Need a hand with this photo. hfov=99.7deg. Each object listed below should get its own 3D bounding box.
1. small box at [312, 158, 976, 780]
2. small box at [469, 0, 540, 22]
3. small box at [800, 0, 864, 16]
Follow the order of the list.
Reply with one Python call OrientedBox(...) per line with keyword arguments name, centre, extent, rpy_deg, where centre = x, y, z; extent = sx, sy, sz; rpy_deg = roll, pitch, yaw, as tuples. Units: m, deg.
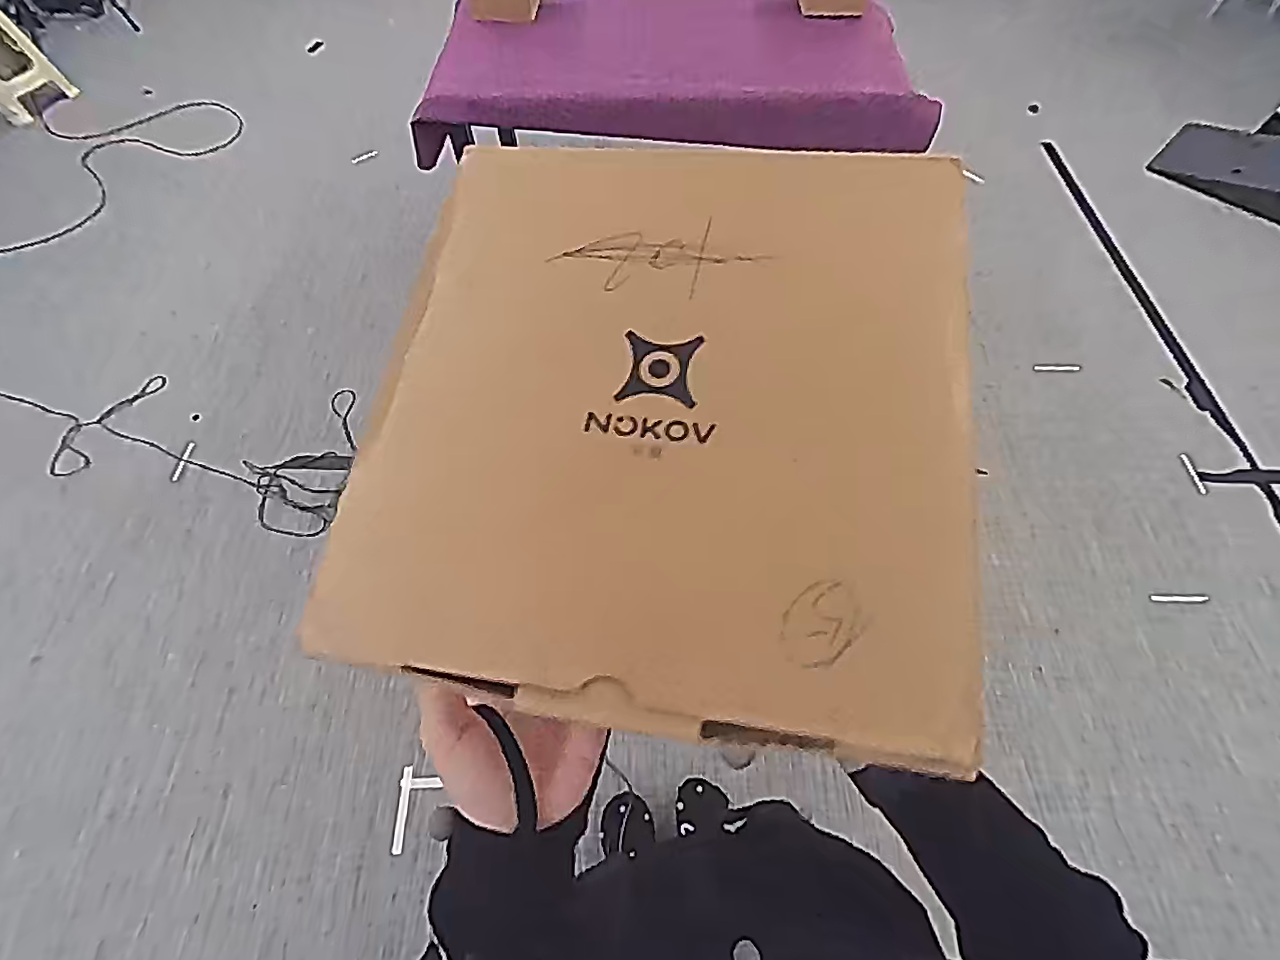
OrientedBox(name="small box", centre=(0.015, 0.002, 0.229), extent=(0.168, 0.176, 0.179), rpy_deg=(6, 71, 8))
OrientedBox(name="small box", centre=(-0.383, -1.398, 1.487), extent=(0.179, 0.176, 0.168), rpy_deg=(3, 63, 1))
OrientedBox(name="small box", centre=(0.540, -1.413, 1.486), extent=(0.179, 0.176, 0.168), rpy_deg=(1, 62, 0))
